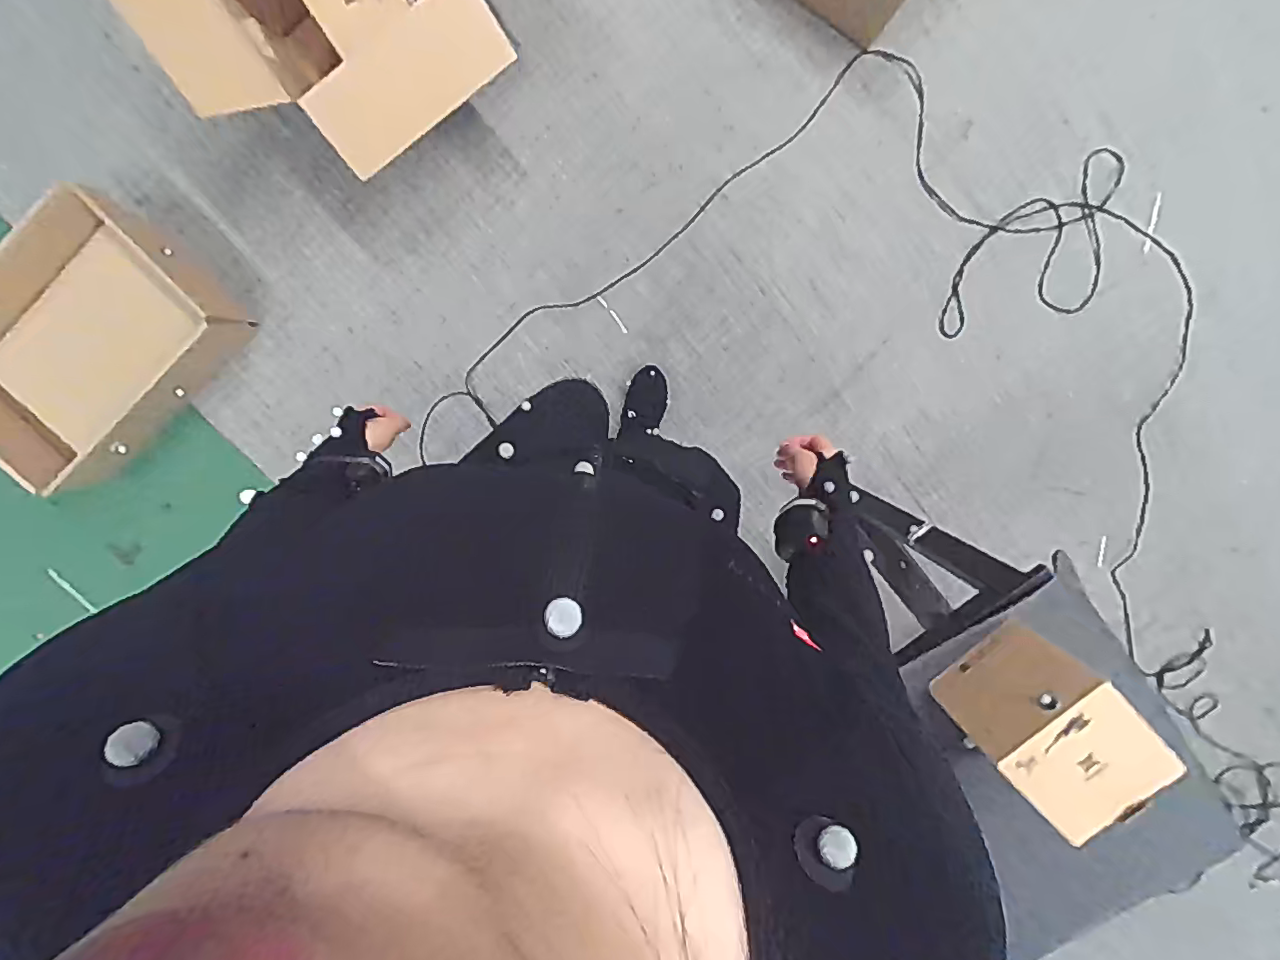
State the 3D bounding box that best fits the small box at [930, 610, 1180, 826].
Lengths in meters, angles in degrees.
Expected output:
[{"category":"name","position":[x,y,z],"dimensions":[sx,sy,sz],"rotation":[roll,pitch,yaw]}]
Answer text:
[{"category":"small box","position":[0.552,0.313,0.743],"dimensions":[0.168,0.176,0.179],"rotation":[-44,100,8]}]
